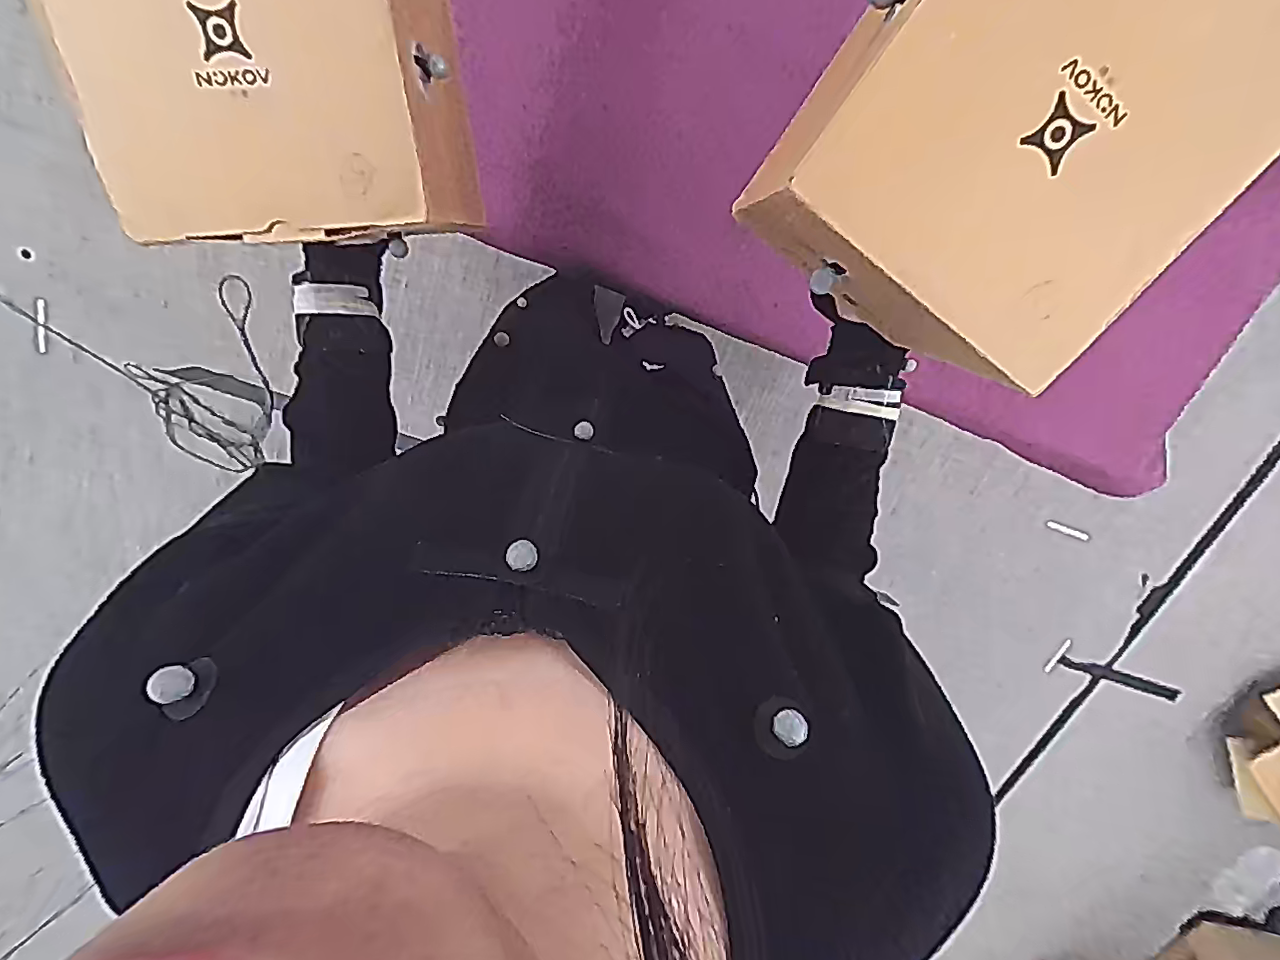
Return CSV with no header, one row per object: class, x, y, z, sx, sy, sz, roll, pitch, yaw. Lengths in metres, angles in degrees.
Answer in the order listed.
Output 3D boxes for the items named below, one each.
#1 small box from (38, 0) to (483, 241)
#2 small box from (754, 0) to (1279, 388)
small box,-0.205,-0.250,0.337,0.168,0.176,0.179,-5,114,-3
small box,0.183,-0.182,0.304,0.168,0.176,0.179,33,108,-13
